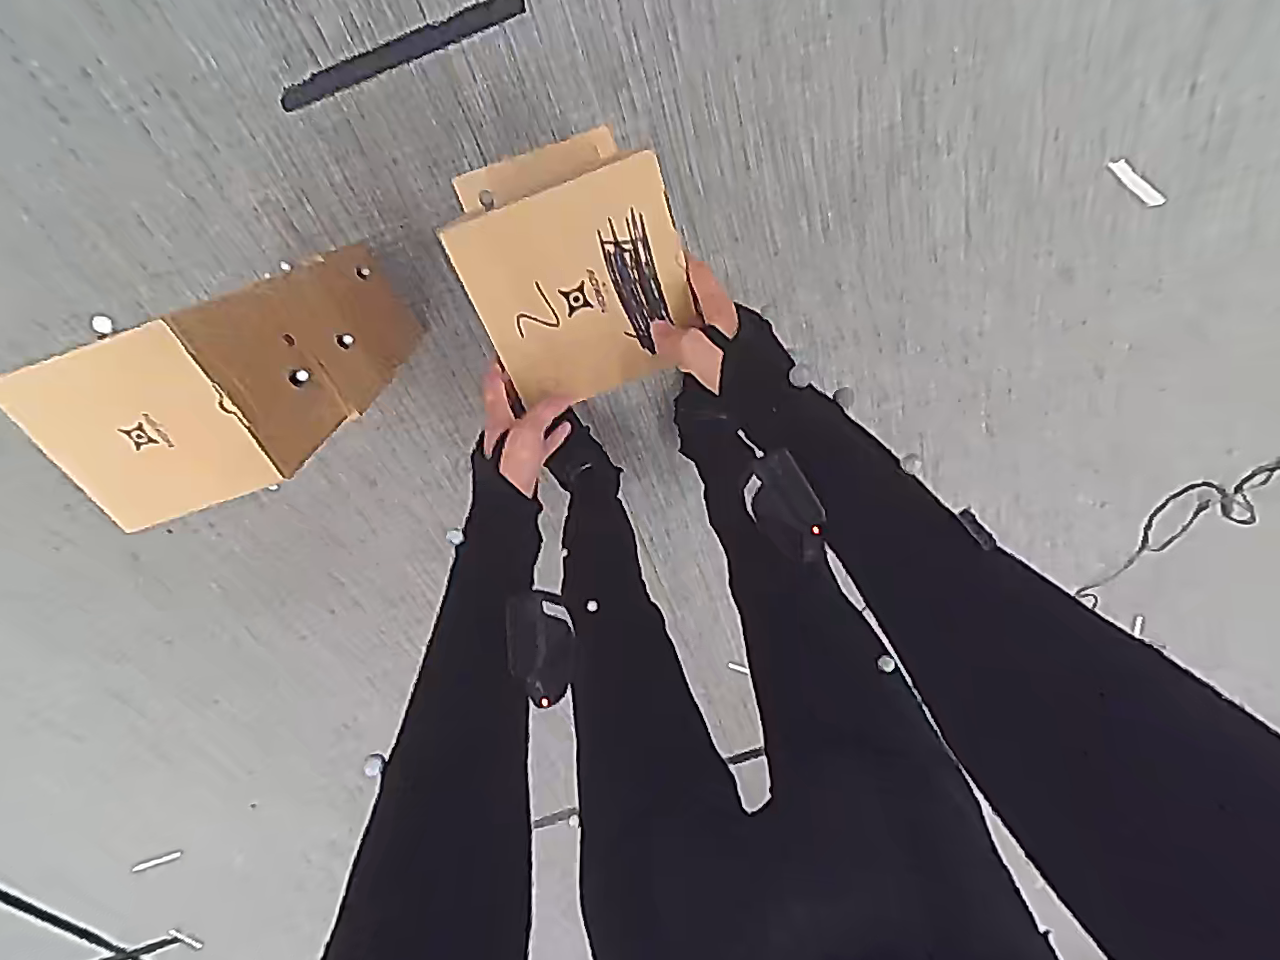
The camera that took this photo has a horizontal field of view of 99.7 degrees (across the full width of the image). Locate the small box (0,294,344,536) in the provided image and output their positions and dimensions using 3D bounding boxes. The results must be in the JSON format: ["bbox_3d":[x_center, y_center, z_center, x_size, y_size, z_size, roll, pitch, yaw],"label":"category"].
[{"bbox_3d":[-0.451,-0.075,0.559,0.179,0.176,0.168,-18,120,3],"label":"small box"}]

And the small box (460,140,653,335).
[{"bbox_3d":[-0.100,-0.302,0.671,0.179,0.176,0.168,-18,120,1],"label":"small box"}]

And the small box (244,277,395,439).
[{"bbox_3d":[-0.457,-0.148,0.705,0.168,0.176,0.179,-23,120,5],"label":"small box"}]

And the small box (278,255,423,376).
[{"bbox_3d":[-0.472,-0.234,0.844,0.168,0.176,0.179,-24,120,6],"label":"small box"}]
